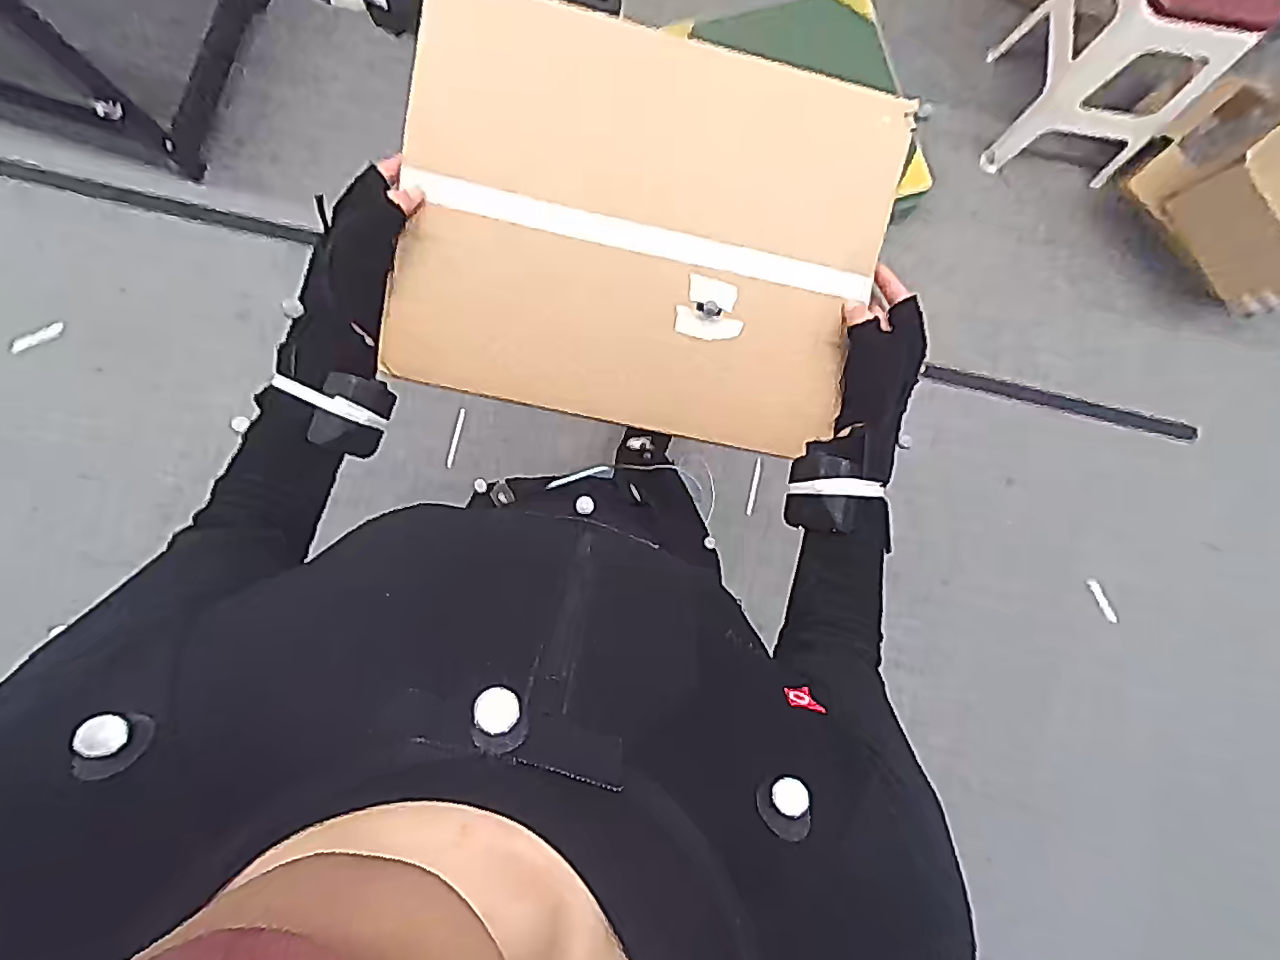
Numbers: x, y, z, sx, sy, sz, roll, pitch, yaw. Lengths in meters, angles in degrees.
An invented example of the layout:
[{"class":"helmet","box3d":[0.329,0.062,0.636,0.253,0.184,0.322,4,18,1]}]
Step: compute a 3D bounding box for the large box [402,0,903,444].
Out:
[{"class":"large box","box3d":[-0.003,-0.239,0.618,0.408,0.320,0.320,11,100,-6]}]
